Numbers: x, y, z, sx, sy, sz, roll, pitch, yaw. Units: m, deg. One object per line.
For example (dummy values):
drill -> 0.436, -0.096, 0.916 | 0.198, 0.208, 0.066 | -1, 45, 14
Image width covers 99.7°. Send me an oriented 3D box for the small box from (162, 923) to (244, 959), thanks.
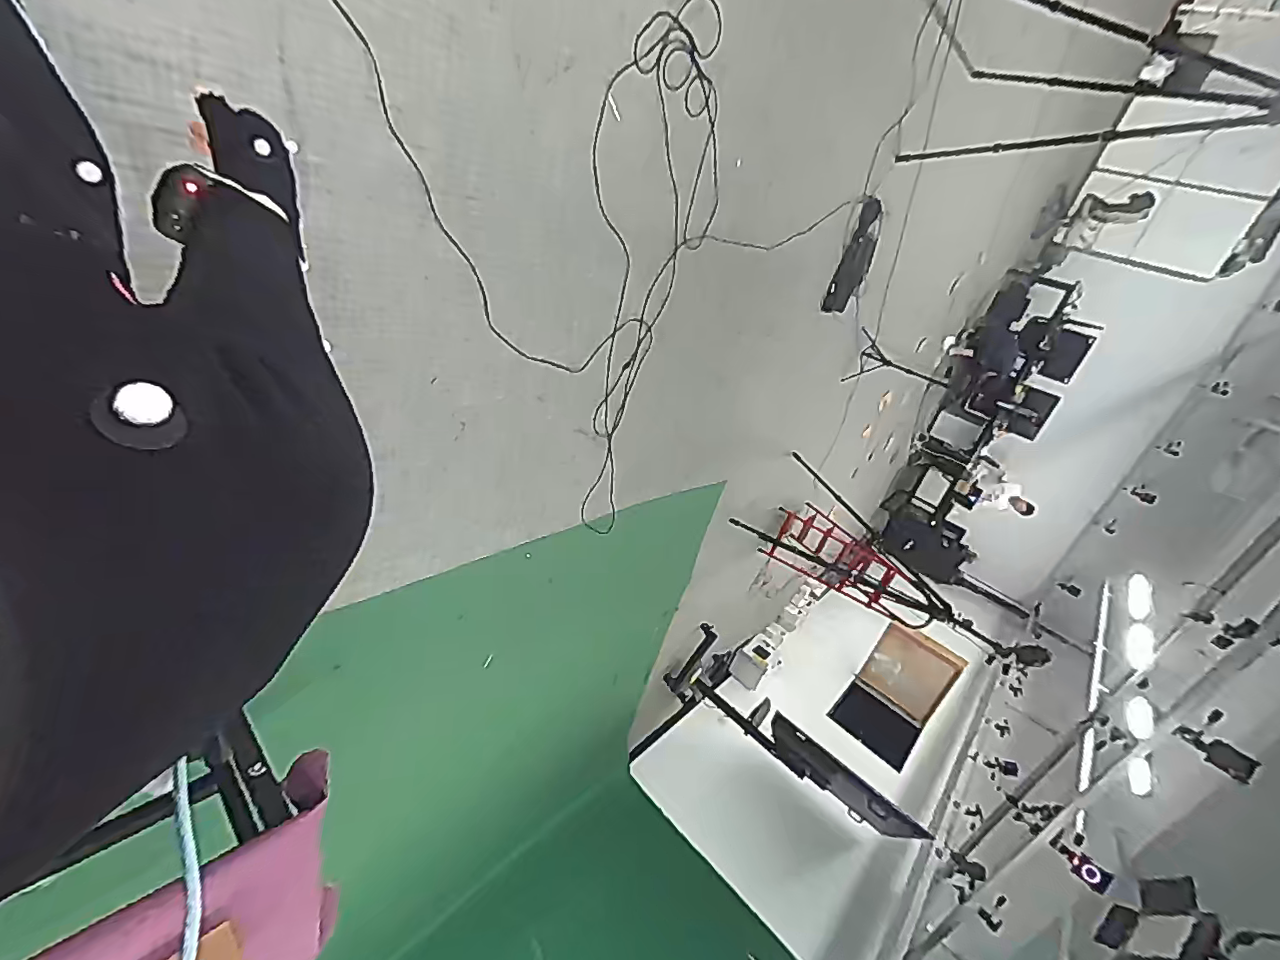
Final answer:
small box -> -0.867, 1.030, 1.057 | 0.168, 0.176, 0.179 | -18, 132, -45
